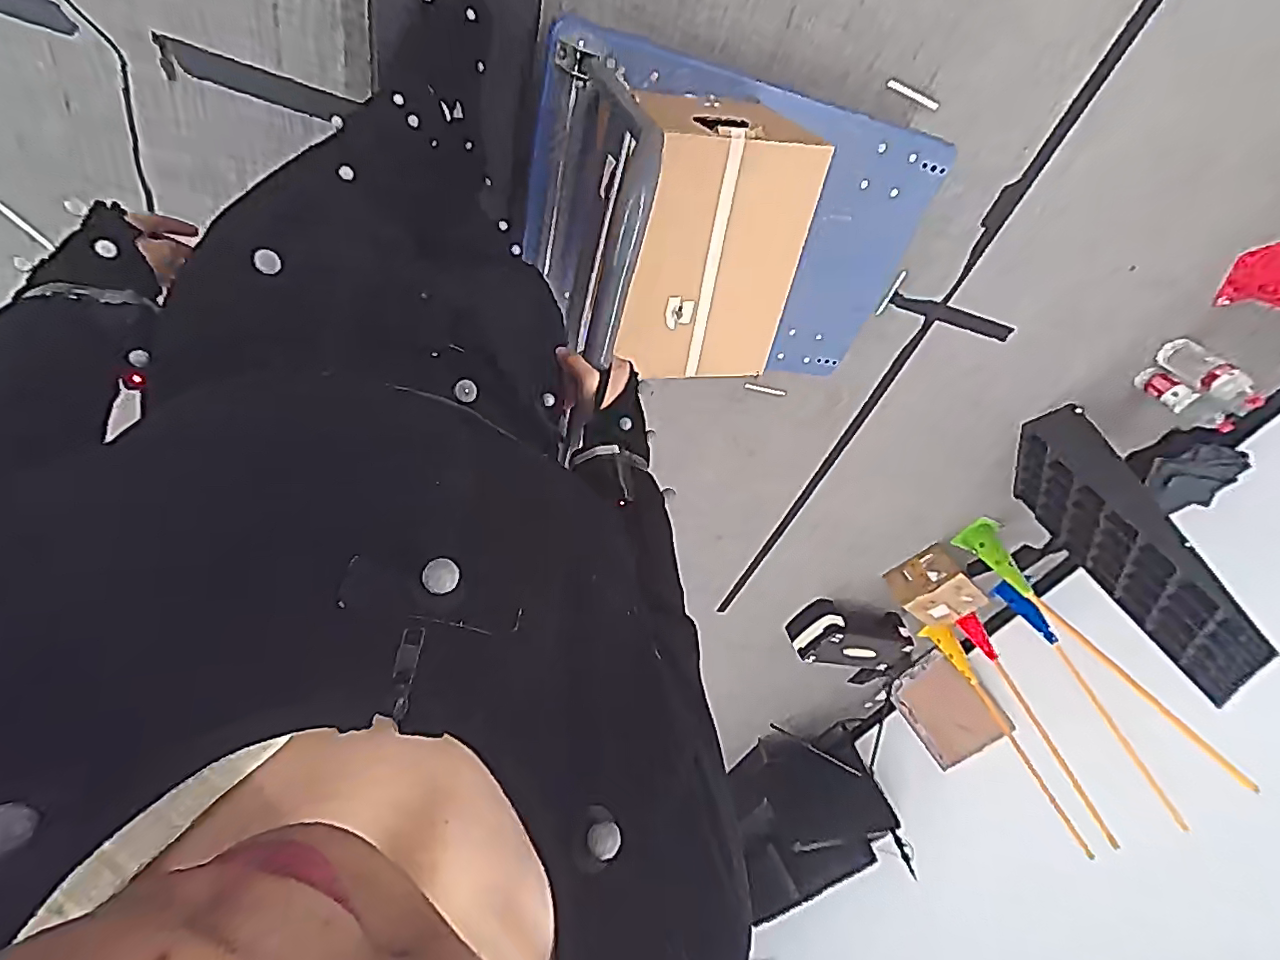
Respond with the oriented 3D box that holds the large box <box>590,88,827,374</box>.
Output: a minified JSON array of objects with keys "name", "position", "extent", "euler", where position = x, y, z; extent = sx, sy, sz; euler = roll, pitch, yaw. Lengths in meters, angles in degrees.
[{"name":"large box","position":[0.084,-0.456,1.011],"extent":[0.320,0.320,0.408],"euler":[-3,135,-13]}]
